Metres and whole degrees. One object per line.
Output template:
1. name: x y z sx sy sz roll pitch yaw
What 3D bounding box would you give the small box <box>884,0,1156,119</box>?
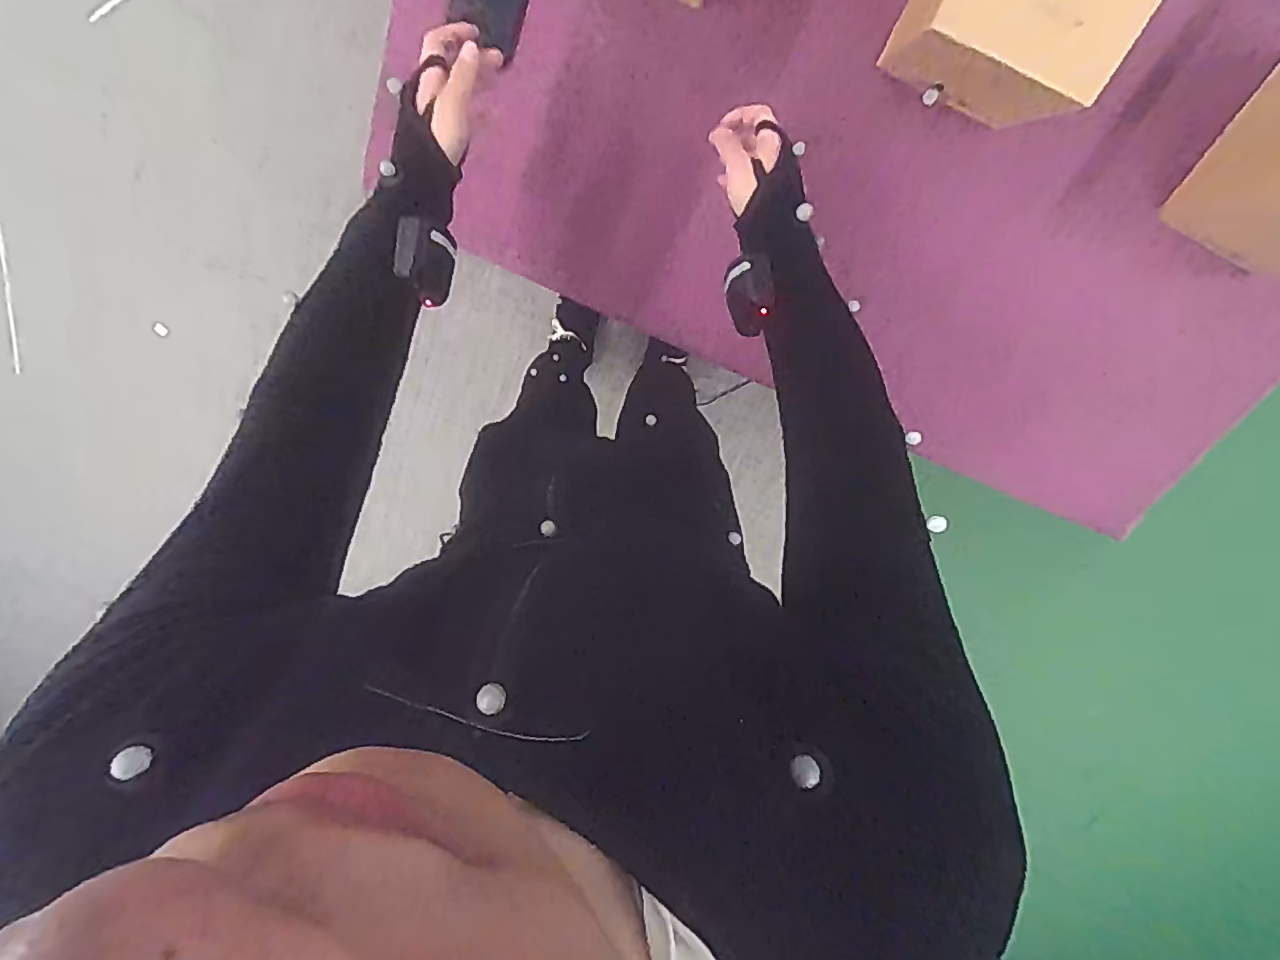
1. small box: 0.358 -0.470 0.498 0.168 0.176 0.179 22 118 -5

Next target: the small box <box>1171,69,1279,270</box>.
1. small box: 0.716 -0.321 0.538 0.168 0.176 0.179 24 116 -6
